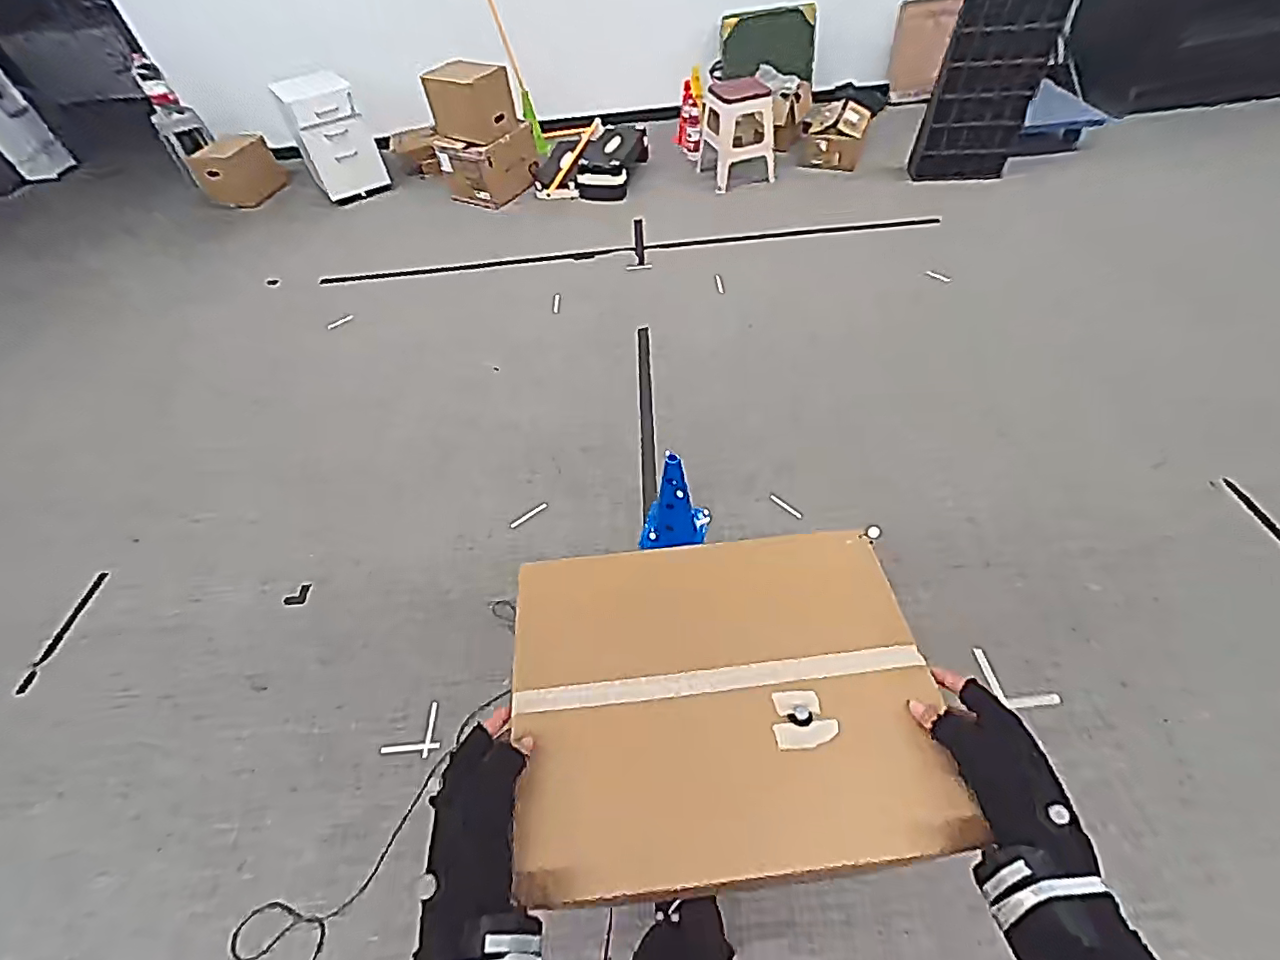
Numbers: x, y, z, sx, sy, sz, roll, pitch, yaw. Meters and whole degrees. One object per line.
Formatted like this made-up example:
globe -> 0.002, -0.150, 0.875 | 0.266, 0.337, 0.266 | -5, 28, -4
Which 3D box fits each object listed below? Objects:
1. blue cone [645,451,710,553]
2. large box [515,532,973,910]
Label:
blue cone -> 0.111, 0.058, 1.645 | 0.193, 0.380, 0.192 | 12, 53, 15
large box -> 0.078, 0.297, 0.661 | 0.408, 0.320, 0.320 | -6, 51, -3
